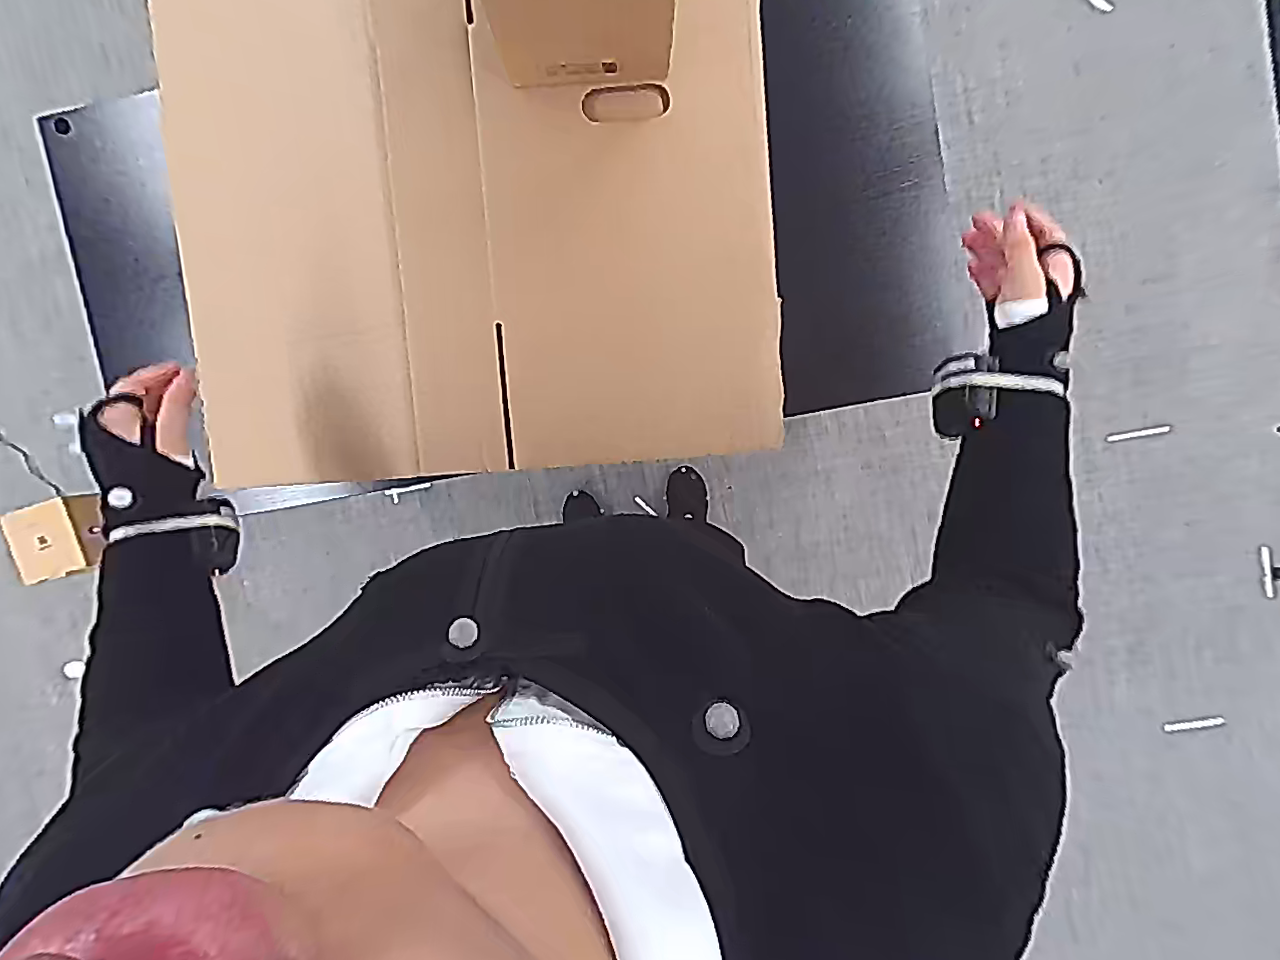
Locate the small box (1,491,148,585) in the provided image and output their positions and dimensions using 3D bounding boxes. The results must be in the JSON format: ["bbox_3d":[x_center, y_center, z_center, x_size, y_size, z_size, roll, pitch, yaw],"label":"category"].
[{"bbox_3d":[-1.378,0.136,1.332,0.168,0.176,0.179,-17,92,4],"label":"small box"}]

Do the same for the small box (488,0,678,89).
[{"bbox_3d":[-0.053,-0.486,0.468,0.168,0.176,0.179,-3,92,0],"label":"small box"}]

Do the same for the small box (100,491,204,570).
[{"bbox_3d":[-1.365,0.131,1.494,0.168,0.176,0.179,-14,94,4],"label":"small box"}]
